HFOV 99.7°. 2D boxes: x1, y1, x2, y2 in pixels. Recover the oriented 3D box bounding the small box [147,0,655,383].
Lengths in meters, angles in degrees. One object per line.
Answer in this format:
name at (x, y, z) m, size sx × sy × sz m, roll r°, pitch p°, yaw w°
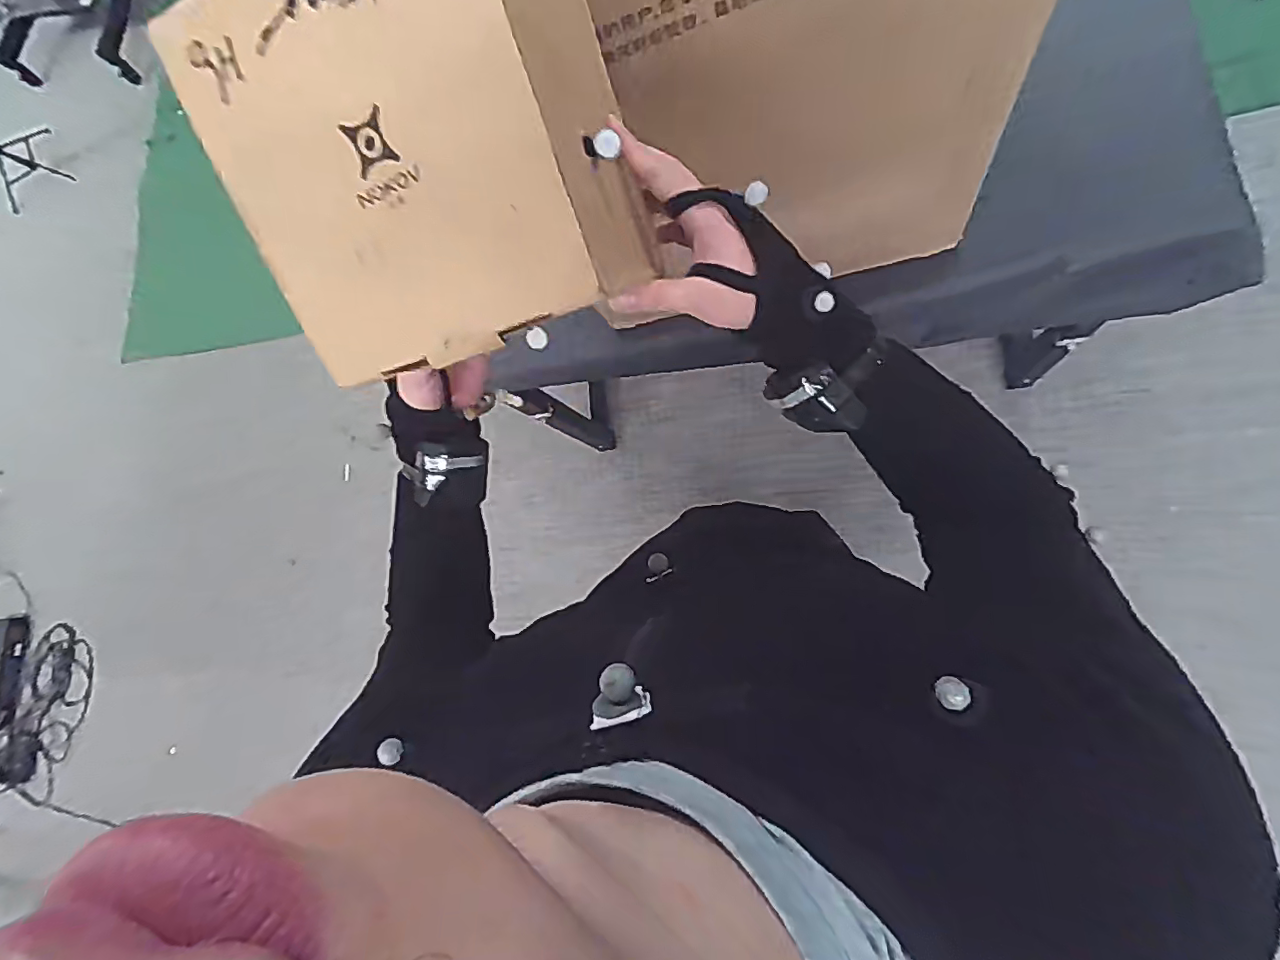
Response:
small box at (-0.101, -0.180, 0.315) m, size 0.168 × 0.176 × 0.179 m, roll -14°, pitch 112°, yaw 18°
